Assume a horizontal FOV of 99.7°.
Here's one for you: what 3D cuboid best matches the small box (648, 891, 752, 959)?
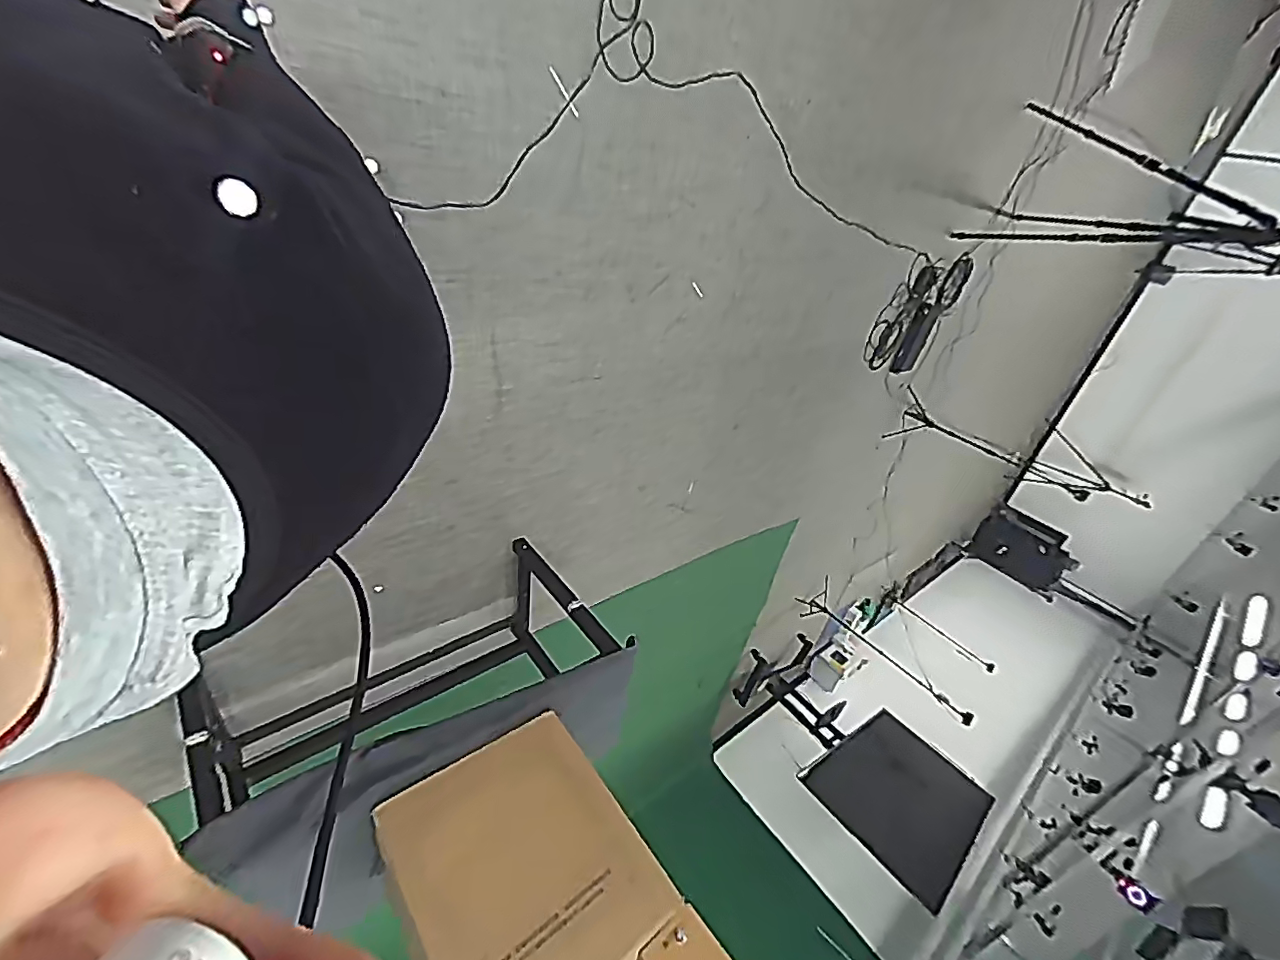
[{"bbox_3d":[0.138,1.148,1.302,0.168,0.176,0.179,-23,133,-37],"label":"small box"}]
